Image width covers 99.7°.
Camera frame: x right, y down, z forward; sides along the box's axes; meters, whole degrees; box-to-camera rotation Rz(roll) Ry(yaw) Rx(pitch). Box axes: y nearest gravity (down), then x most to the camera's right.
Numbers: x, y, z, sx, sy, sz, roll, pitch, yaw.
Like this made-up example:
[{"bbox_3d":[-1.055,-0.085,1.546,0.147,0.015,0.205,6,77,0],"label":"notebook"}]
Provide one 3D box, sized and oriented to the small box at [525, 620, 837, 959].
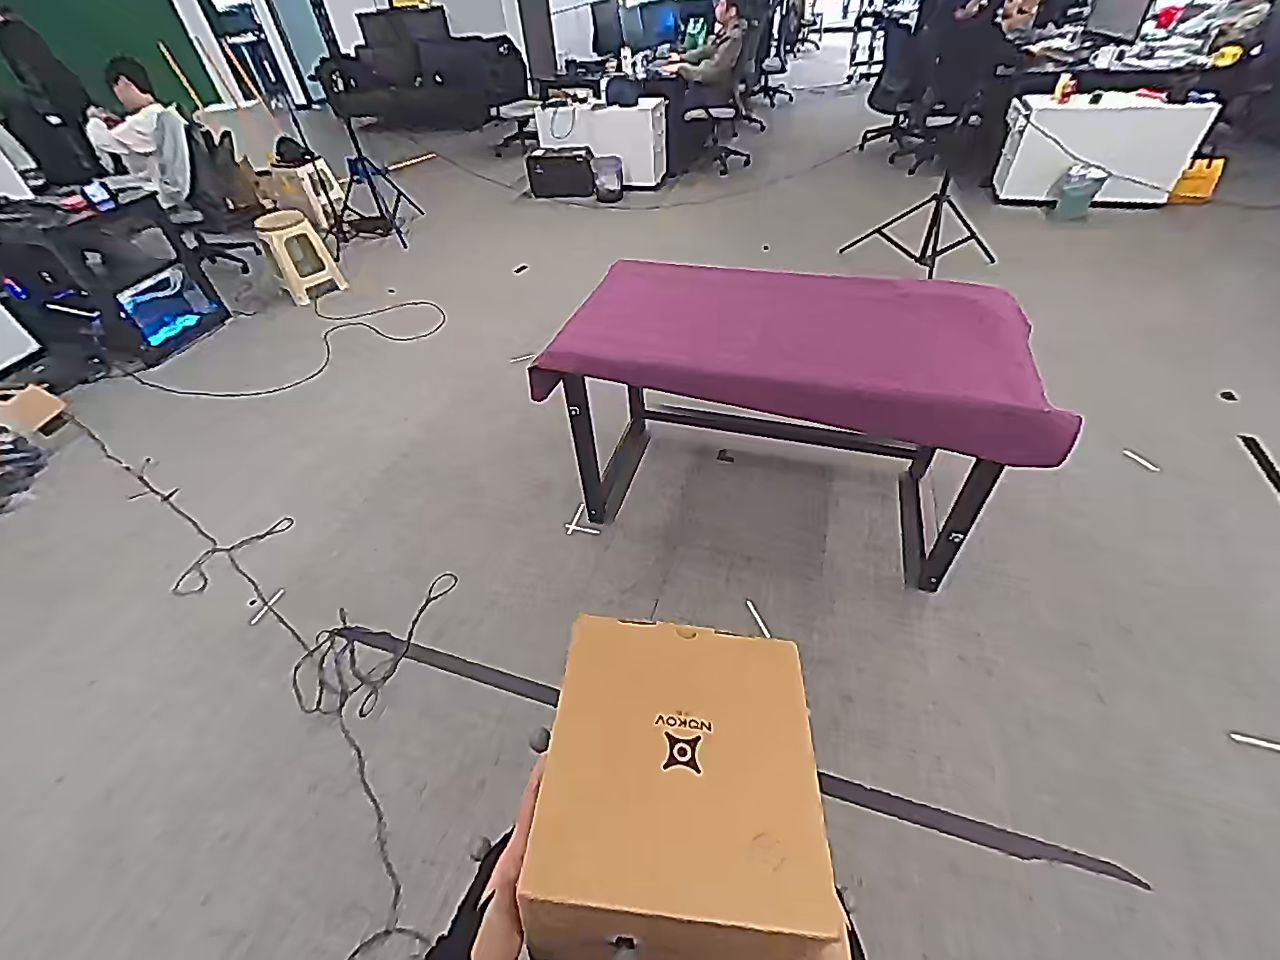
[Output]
[{"bbox_3d":[0.022,0.231,0.391,0.168,0.176,0.179,7,38,0],"label":"small box"}]
